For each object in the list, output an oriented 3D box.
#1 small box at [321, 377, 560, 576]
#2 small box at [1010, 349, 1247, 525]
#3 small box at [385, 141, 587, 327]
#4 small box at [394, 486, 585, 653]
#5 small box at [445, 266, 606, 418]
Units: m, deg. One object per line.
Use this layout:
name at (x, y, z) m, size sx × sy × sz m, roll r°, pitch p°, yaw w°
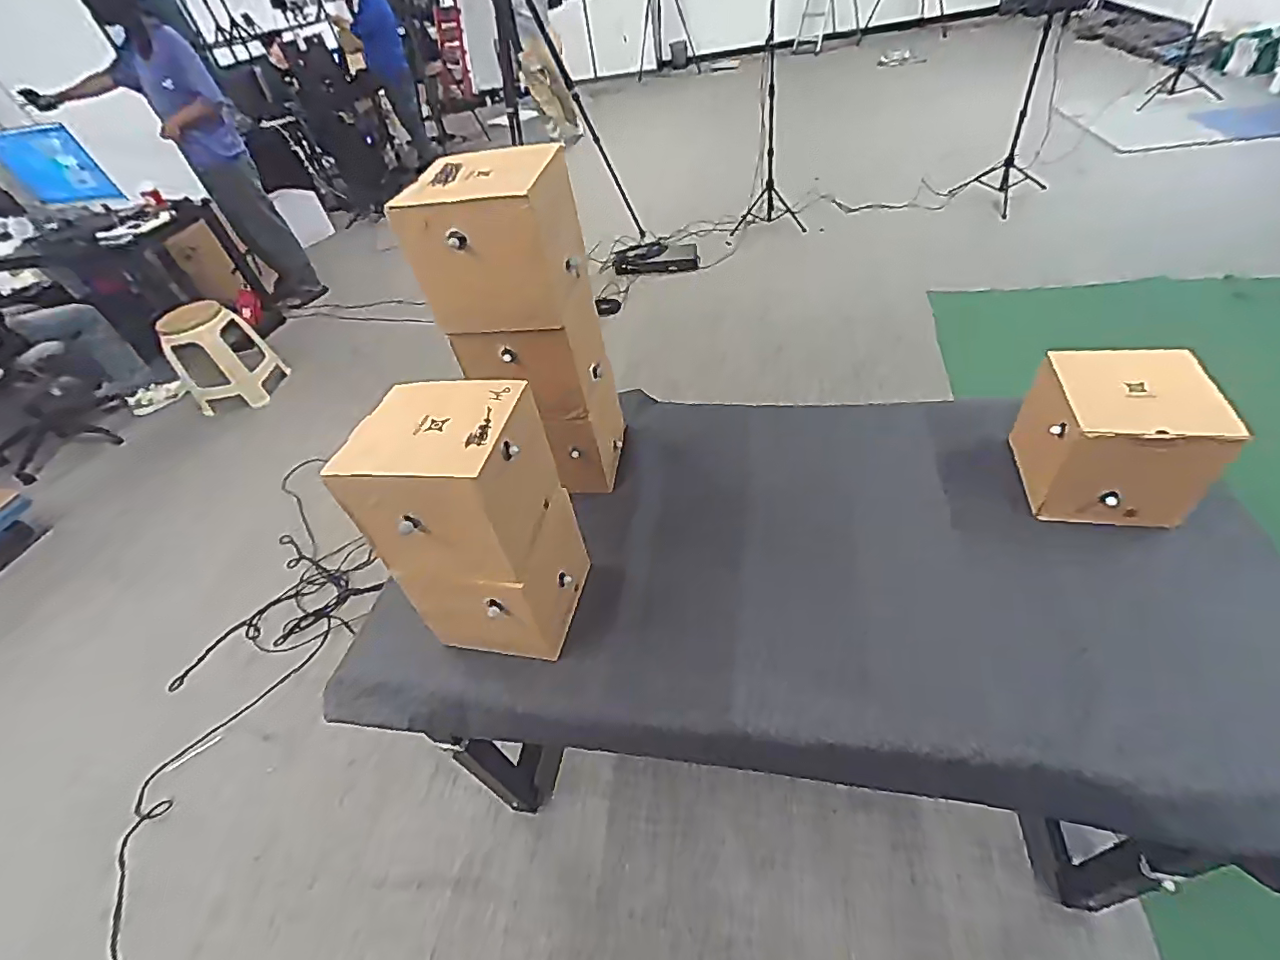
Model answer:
small box at (-0.212, -0.002, 0.631) m, size 0.179 × 0.176 × 0.168 m, roll 0°, pitch 44°, yaw 12°
small box at (0.643, -0.062, 0.747) m, size 0.168 × 0.176 × 0.179 m, roll 3°, pitch 49°, yaw 15°
small box at (-0.182, -0.312, 0.702) m, size 0.179 × 0.176 × 0.168 m, roll 1°, pitch 49°, yaw 11°
small box at (-0.187, 0.118, 0.740) m, size 0.179 × 0.176 × 0.168 m, roll 3°, pitch 44°, yaw 14°
small box at (-0.161, -0.208, 0.827) m, size 0.179 × 0.176 × 0.168 m, roll 0°, pitch 48°, yaw 9°
